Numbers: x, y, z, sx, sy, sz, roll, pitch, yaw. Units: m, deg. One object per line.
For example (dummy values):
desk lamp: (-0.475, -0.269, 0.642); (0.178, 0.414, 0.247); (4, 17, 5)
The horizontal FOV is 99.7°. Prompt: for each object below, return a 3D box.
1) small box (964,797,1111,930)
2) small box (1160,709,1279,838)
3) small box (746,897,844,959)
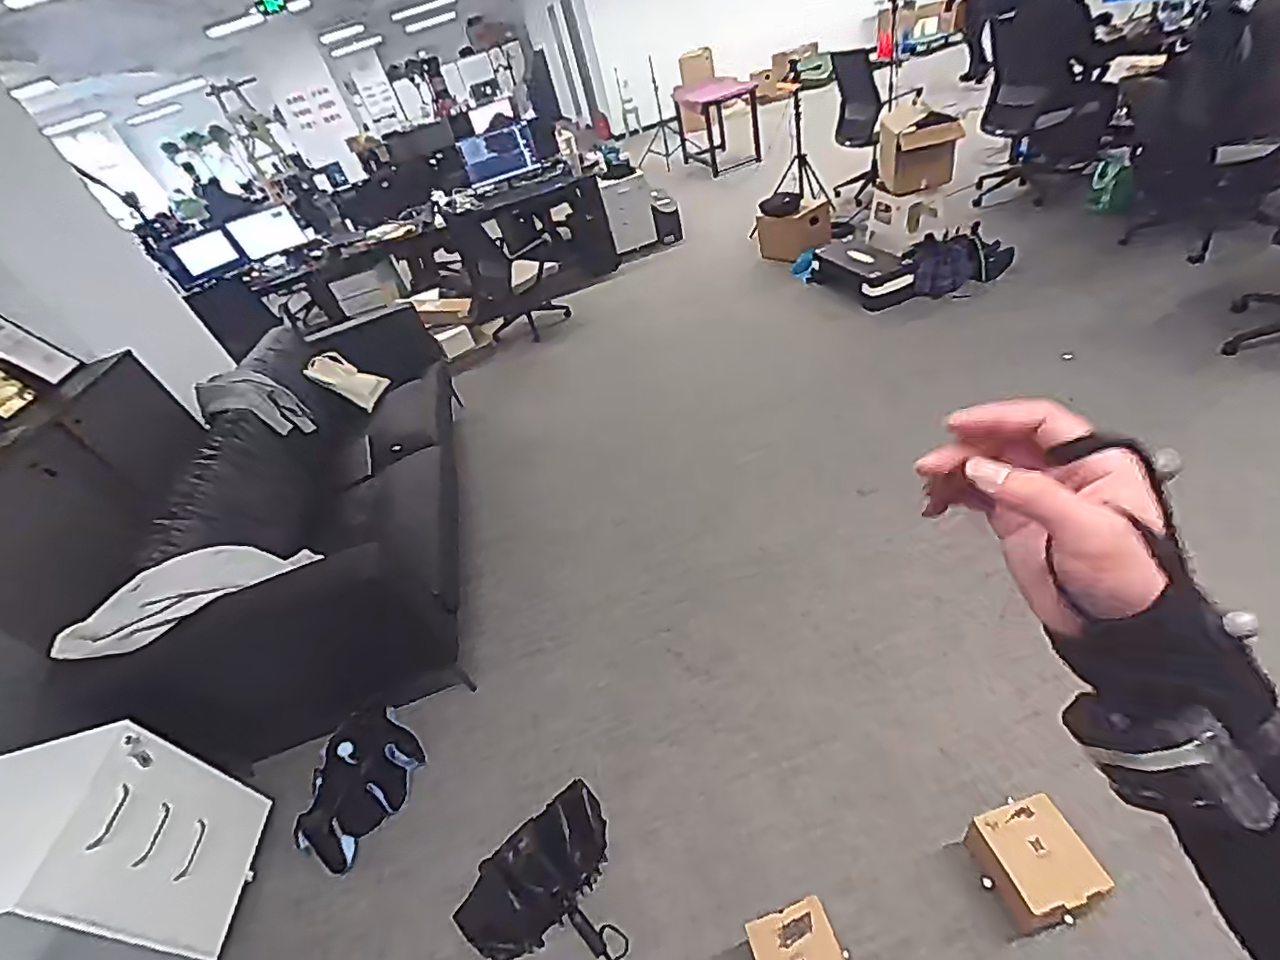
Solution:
small box: (0.818, 0.810, 1.134); (0.168, 0.176, 0.179); (-19, 39, 0)
small box: (1.285, 0.630, 1.151); (0.168, 0.176, 0.179); (-20, 37, -1)
small box: (0.333, 1.003, 1.104); (0.168, 0.176, 0.179); (-21, 40, -2)
